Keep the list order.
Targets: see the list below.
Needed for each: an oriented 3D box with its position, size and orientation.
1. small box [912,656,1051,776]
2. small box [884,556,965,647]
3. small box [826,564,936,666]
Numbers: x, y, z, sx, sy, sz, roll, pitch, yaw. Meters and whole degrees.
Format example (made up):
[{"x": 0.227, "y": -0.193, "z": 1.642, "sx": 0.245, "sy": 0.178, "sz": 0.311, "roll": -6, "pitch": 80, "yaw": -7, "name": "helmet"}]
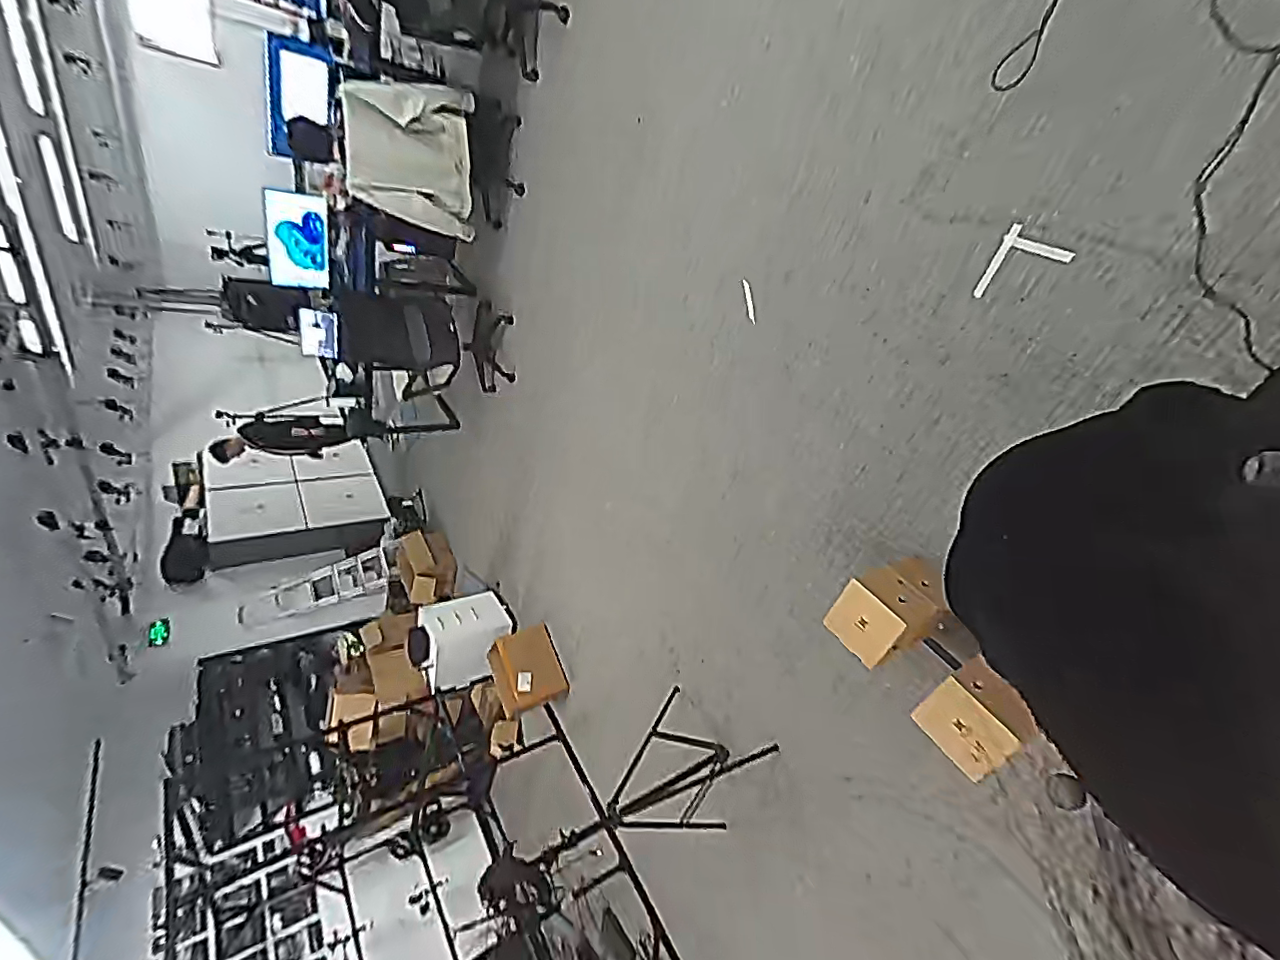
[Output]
[{"x": 0.777, "y": 0.526, "z": 1.234, "sx": 0.179, "sy": 0.176, "sz": 0.168, "roll": 49, "pitch": 134, "yaw": 36, "name": "small box"}, {"x": 0.753, "y": 0.329, "z": 1.507, "sx": 0.179, "sy": 0.176, "sz": 0.168, "roll": 48, "pitch": 133, "yaw": 36, "name": "small box"}, {"x": 0.629, "y": 0.342, "z": 1.402, "sx": 0.168, "sy": 0.176, "sz": 0.179, "roll": 47, "pitch": 133, "yaw": 38, "name": "small box"}]
